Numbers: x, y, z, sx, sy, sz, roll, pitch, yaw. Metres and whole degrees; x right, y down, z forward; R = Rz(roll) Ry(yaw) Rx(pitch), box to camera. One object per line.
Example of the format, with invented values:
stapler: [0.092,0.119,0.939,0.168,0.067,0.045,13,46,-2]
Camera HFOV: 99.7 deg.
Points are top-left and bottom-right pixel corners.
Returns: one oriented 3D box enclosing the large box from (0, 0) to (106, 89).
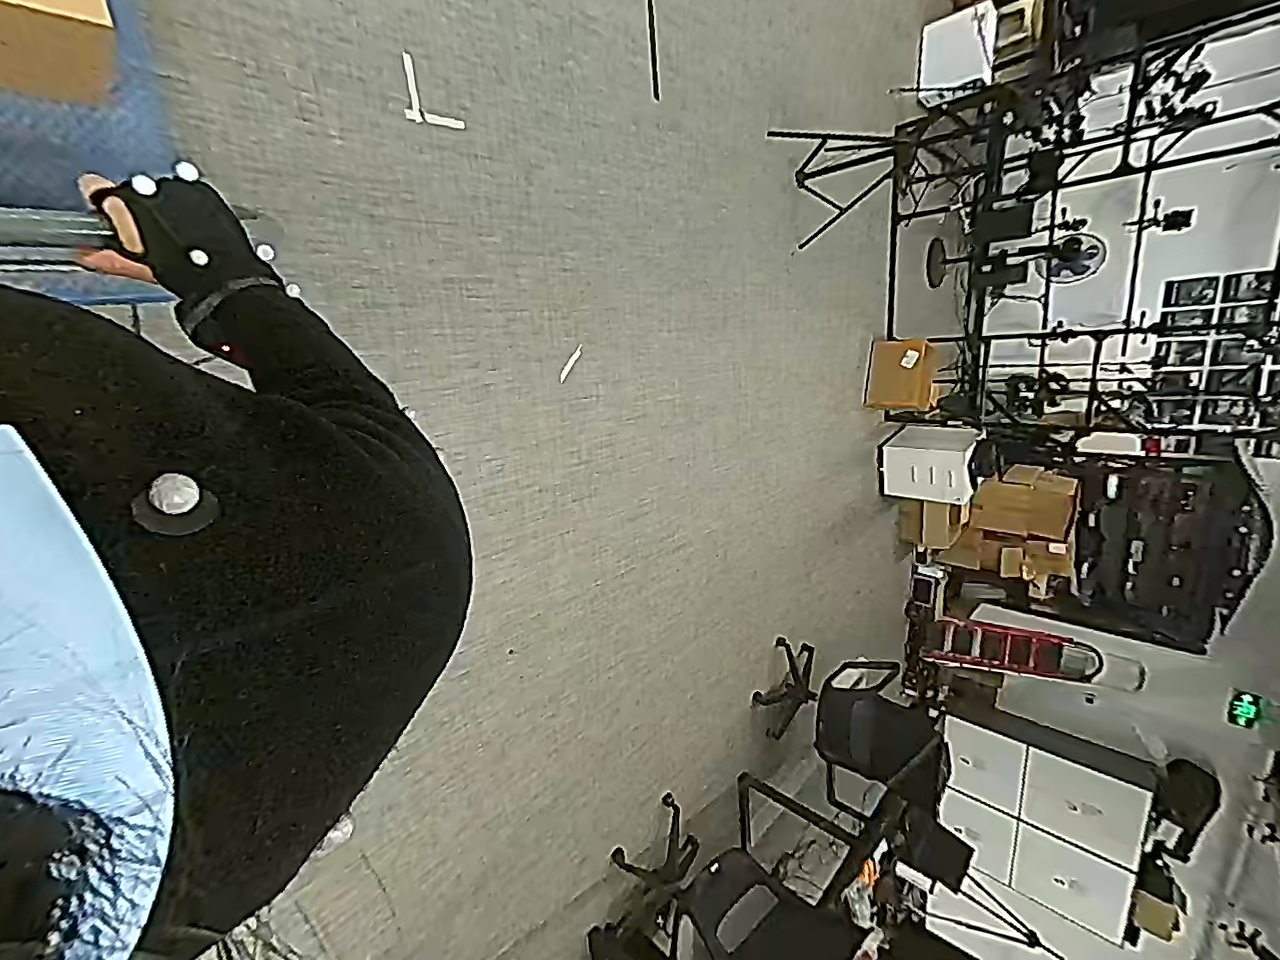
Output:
large box: [-0.967,-0.733,0.648,0.408,0.320,0.320,-20,111,-42]
